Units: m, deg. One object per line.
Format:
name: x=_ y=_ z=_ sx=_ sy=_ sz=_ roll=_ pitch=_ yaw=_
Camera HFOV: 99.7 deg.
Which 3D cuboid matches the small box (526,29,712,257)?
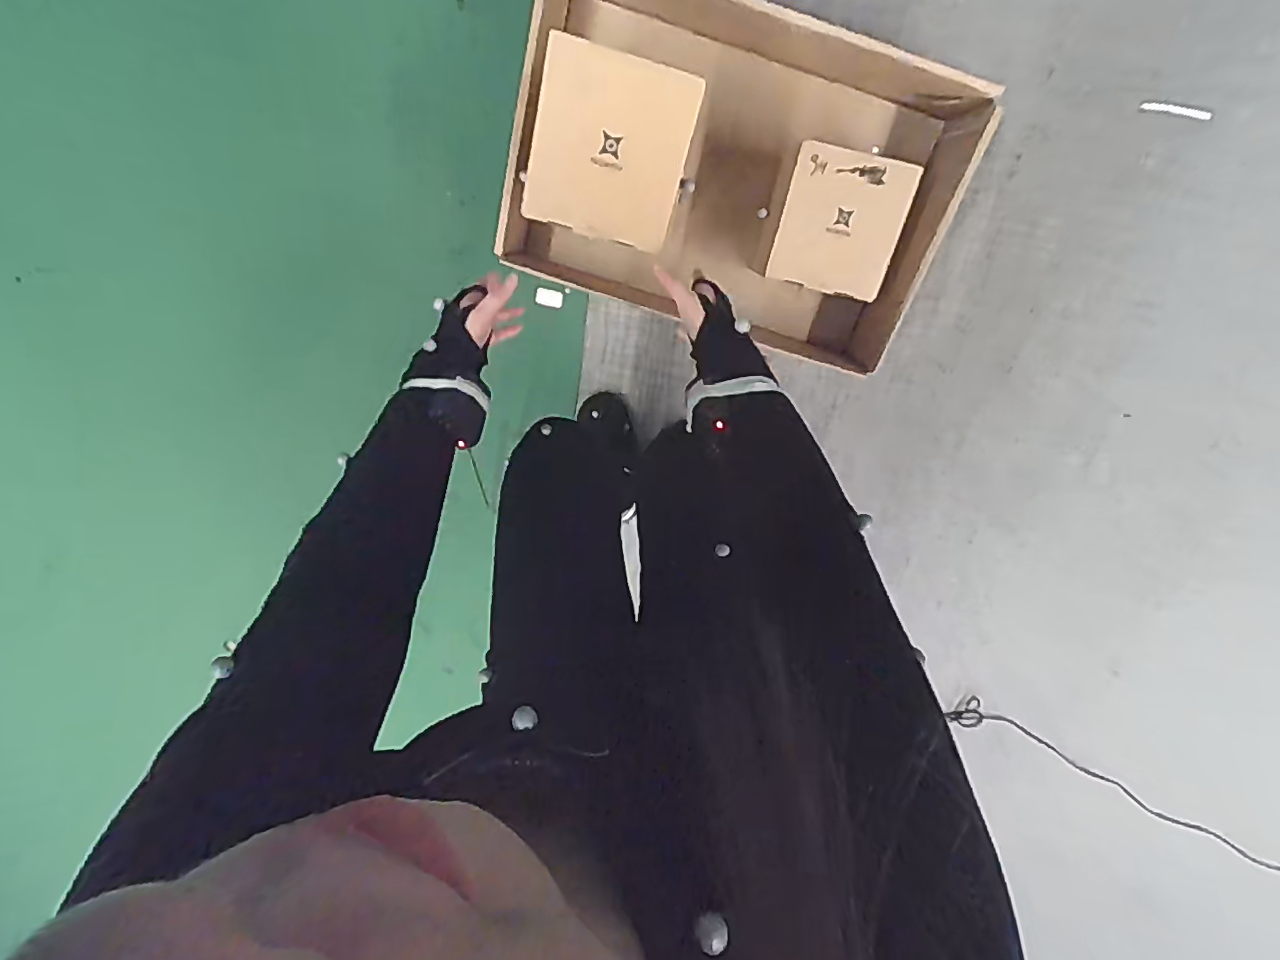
small box: x=-0.025 y=-0.386 z=0.650 sx=0.168 sy=0.176 sz=0.179 roll=15 pitch=116 yaw=-5
